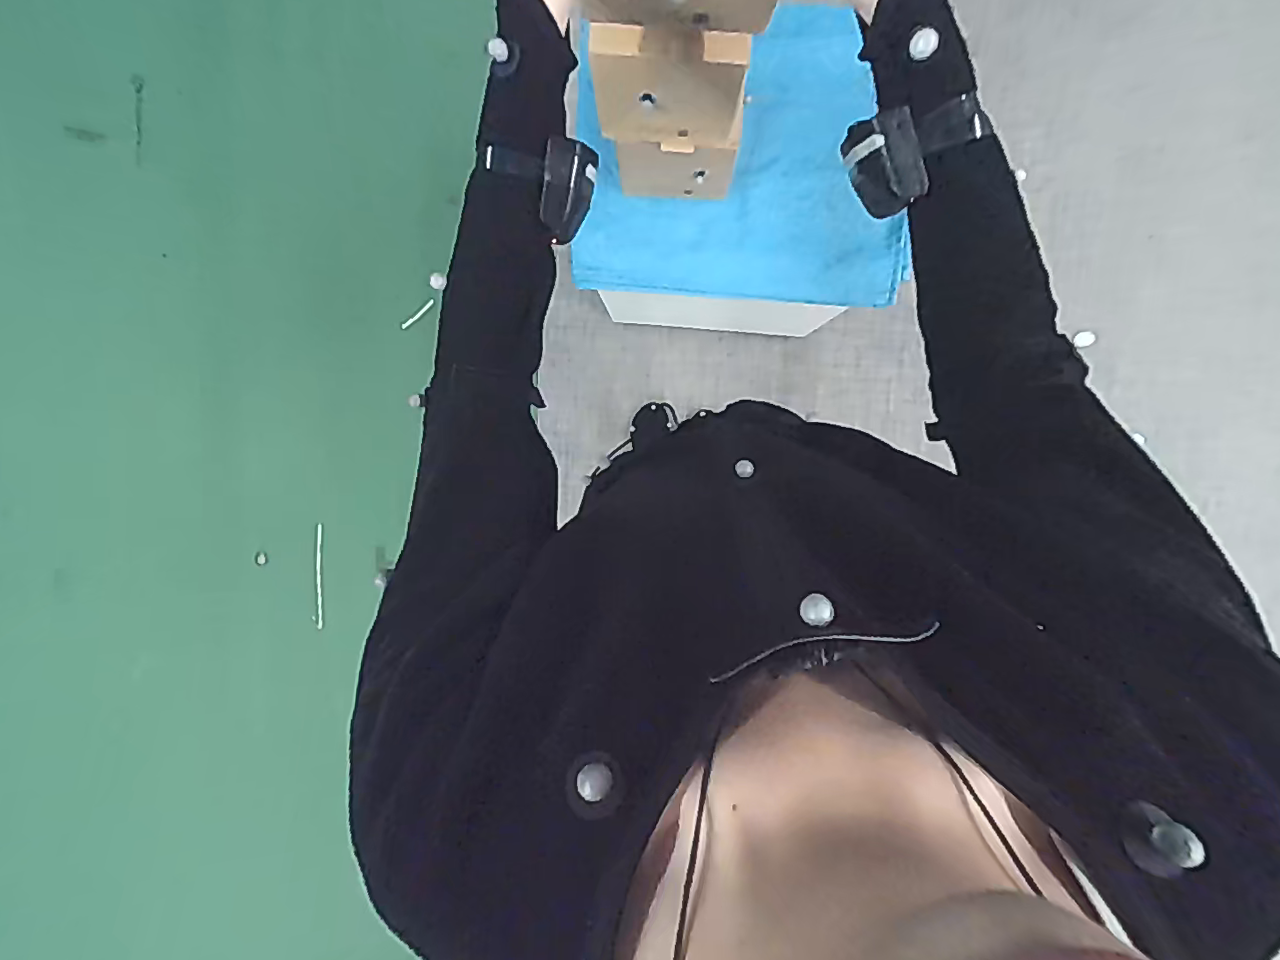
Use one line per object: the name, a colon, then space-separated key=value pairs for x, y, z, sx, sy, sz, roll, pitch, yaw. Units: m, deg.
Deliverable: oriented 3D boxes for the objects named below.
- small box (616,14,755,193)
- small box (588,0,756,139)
small box: x=0.060 y=-0.532 z=0.765 sx=0.168 sy=0.176 sz=0.179 roll=5 pitch=96 yaw=1
small box: x=0.041 y=-0.516 z=0.605 sx=0.168 sy=0.176 sz=0.179 roll=6 pitch=95 yaw=1
